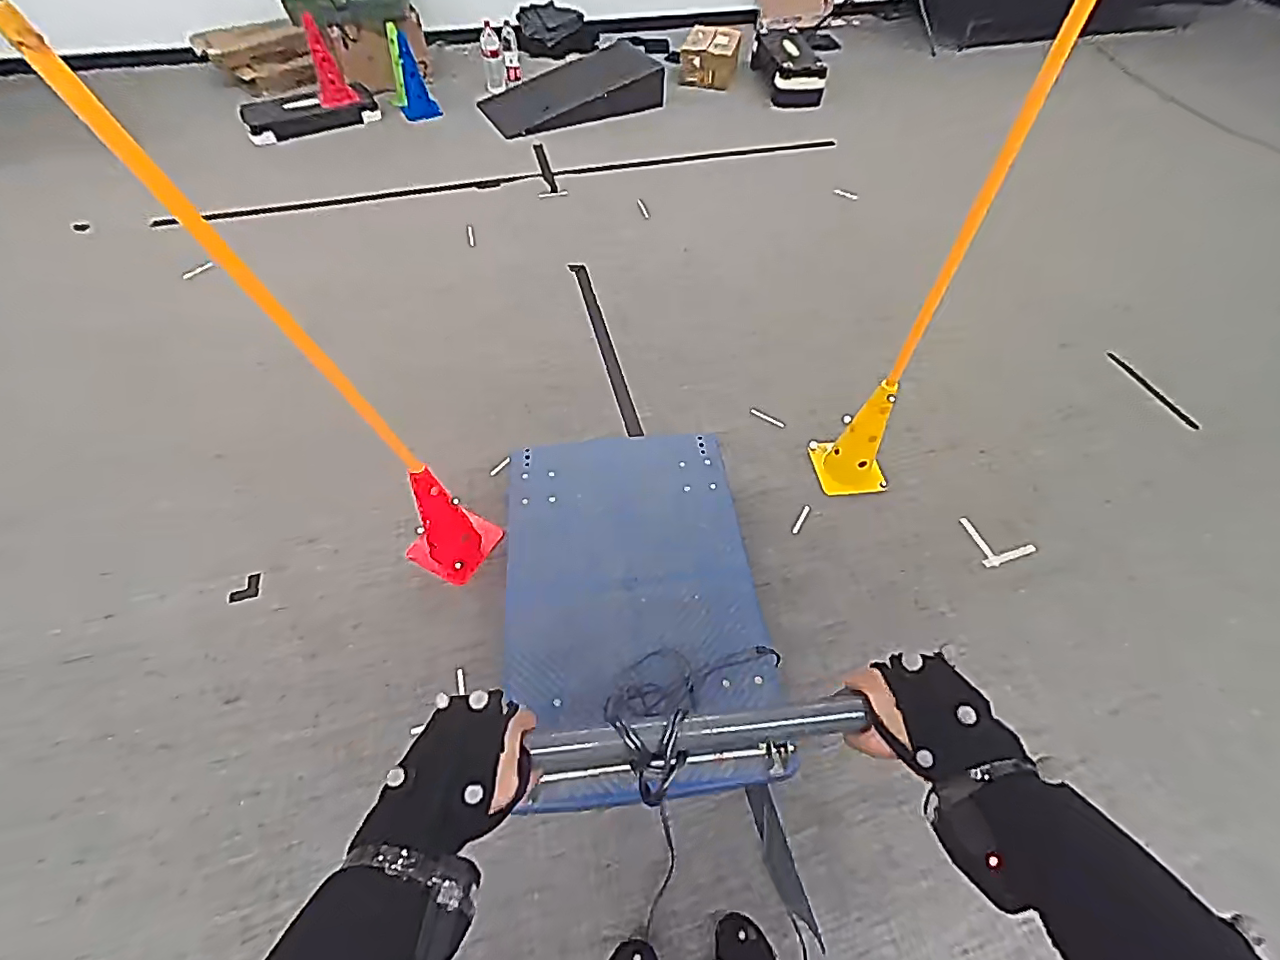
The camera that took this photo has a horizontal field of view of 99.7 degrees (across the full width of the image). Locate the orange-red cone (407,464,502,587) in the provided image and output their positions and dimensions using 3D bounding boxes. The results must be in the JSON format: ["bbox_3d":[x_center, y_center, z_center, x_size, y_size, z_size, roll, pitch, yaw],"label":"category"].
[{"bbox_3d":[-0.502,0.081,1.353,0.198,0.360,0.199,26,56,15],"label":"orange-red cone"}]
